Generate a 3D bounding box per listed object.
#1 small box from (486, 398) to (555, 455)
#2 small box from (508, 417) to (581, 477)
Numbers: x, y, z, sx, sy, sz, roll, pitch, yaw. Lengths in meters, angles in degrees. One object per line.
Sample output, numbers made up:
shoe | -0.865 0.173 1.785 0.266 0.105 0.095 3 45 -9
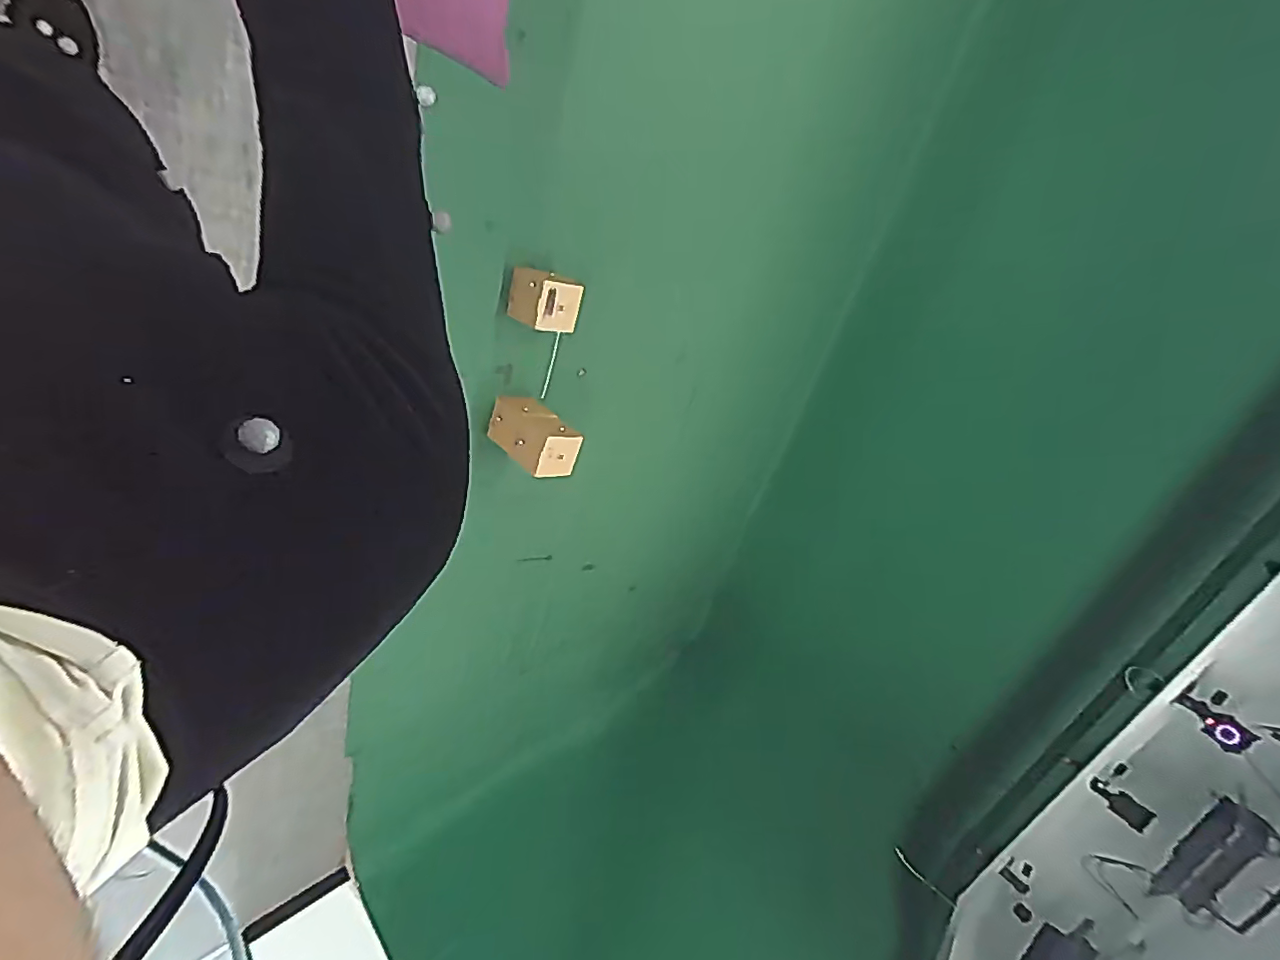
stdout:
small box | -0.464 -0.208 2.096 0.179 0.176 0.168 -6 125 -49
small box | -0.356 -0.123 2.006 0.179 0.176 0.168 -4 123 -50
